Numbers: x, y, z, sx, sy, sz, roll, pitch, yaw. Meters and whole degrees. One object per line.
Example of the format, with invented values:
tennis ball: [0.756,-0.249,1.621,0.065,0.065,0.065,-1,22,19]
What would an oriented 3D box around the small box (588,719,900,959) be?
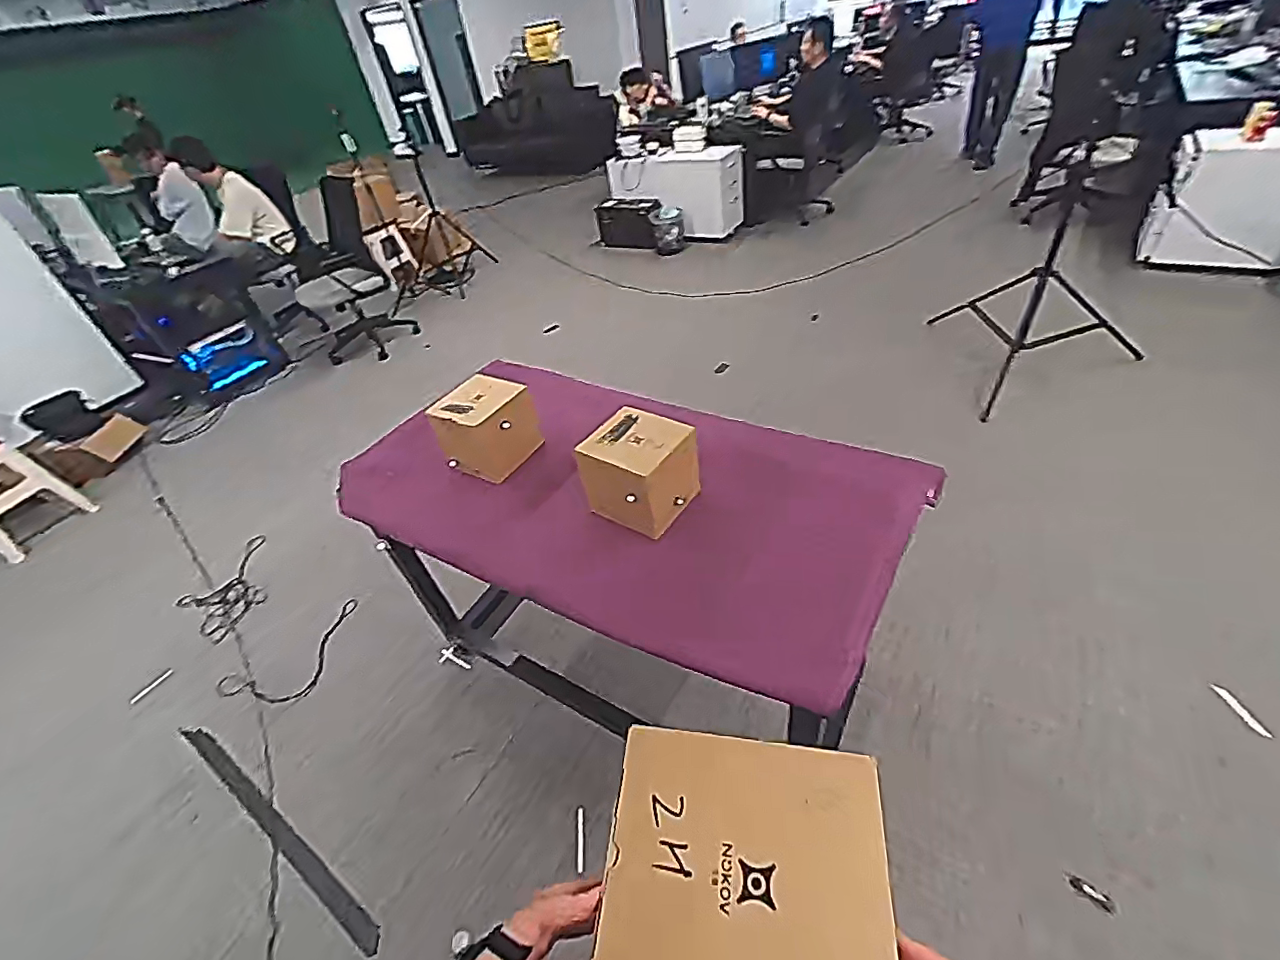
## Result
small box: [0.073,0.297,0.395,0.179,0.176,0.168,2,47,11]

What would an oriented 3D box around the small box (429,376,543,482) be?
small box: [-0.357,-0.121,1.289,0.168,0.176,0.179,17,48,28]
